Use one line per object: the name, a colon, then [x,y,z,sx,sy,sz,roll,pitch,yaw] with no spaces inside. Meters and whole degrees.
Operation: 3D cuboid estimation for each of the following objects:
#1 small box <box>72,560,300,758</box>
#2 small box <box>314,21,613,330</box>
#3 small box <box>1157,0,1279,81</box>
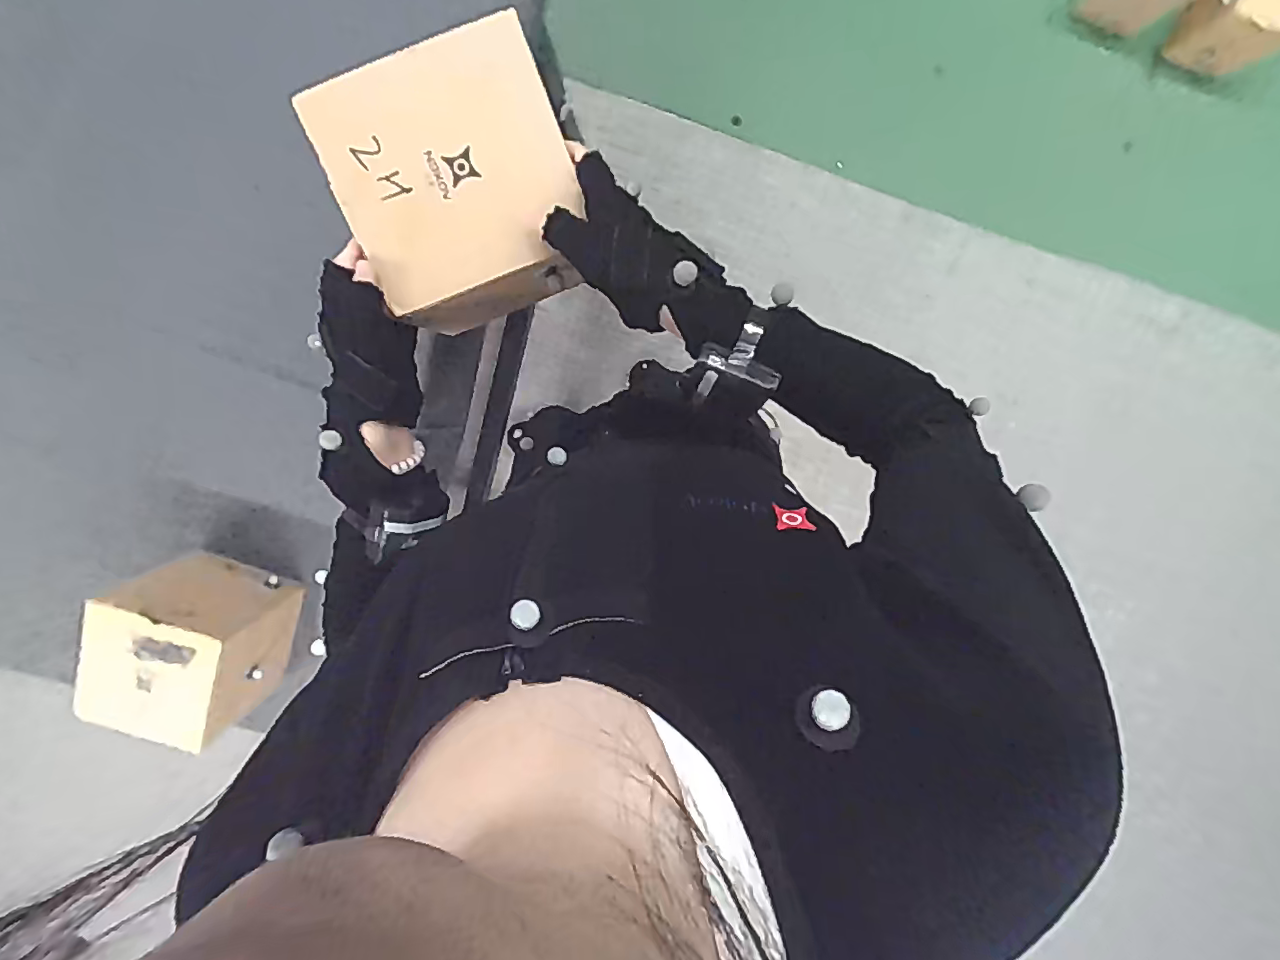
small box: [-0.608,0.234,0.746,0.168,0.176,0.179,20,103,-3]
small box: [-0.134,-0.244,0.482,0.179,0.176,0.168,-20,102,0]
small box: [1.297,-1.020,1.172,0.168,0.176,0.179,17,104,-3]
